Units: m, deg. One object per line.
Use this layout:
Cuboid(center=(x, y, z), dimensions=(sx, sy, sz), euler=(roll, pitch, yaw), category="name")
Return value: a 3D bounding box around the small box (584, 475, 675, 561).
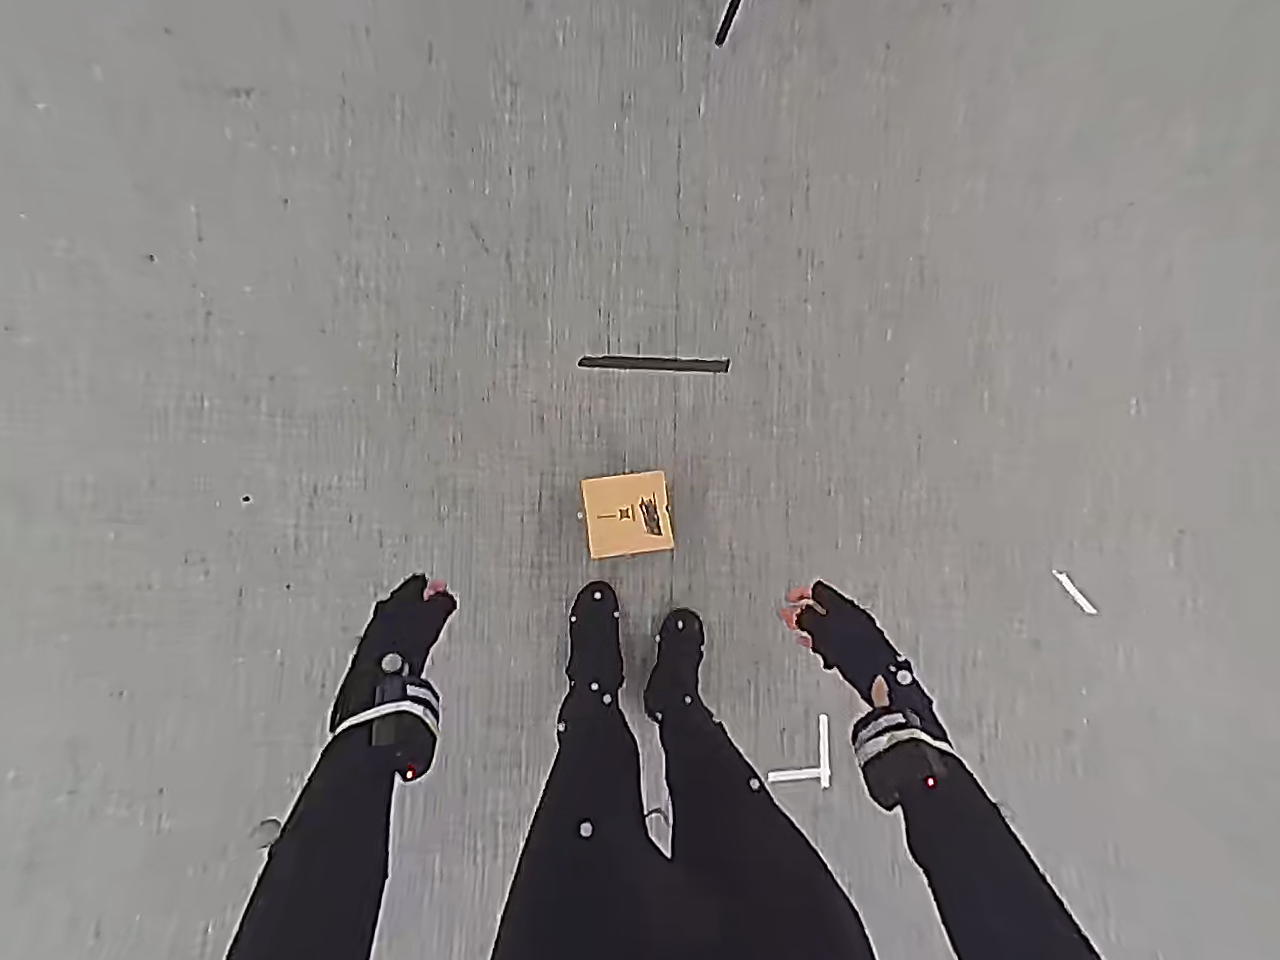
Cuboid(center=(-0.030, 0.080, 1.190), dimensions=(0.179, 0.176, 0.168), euler=(-6, 88, -6), category="small box")
